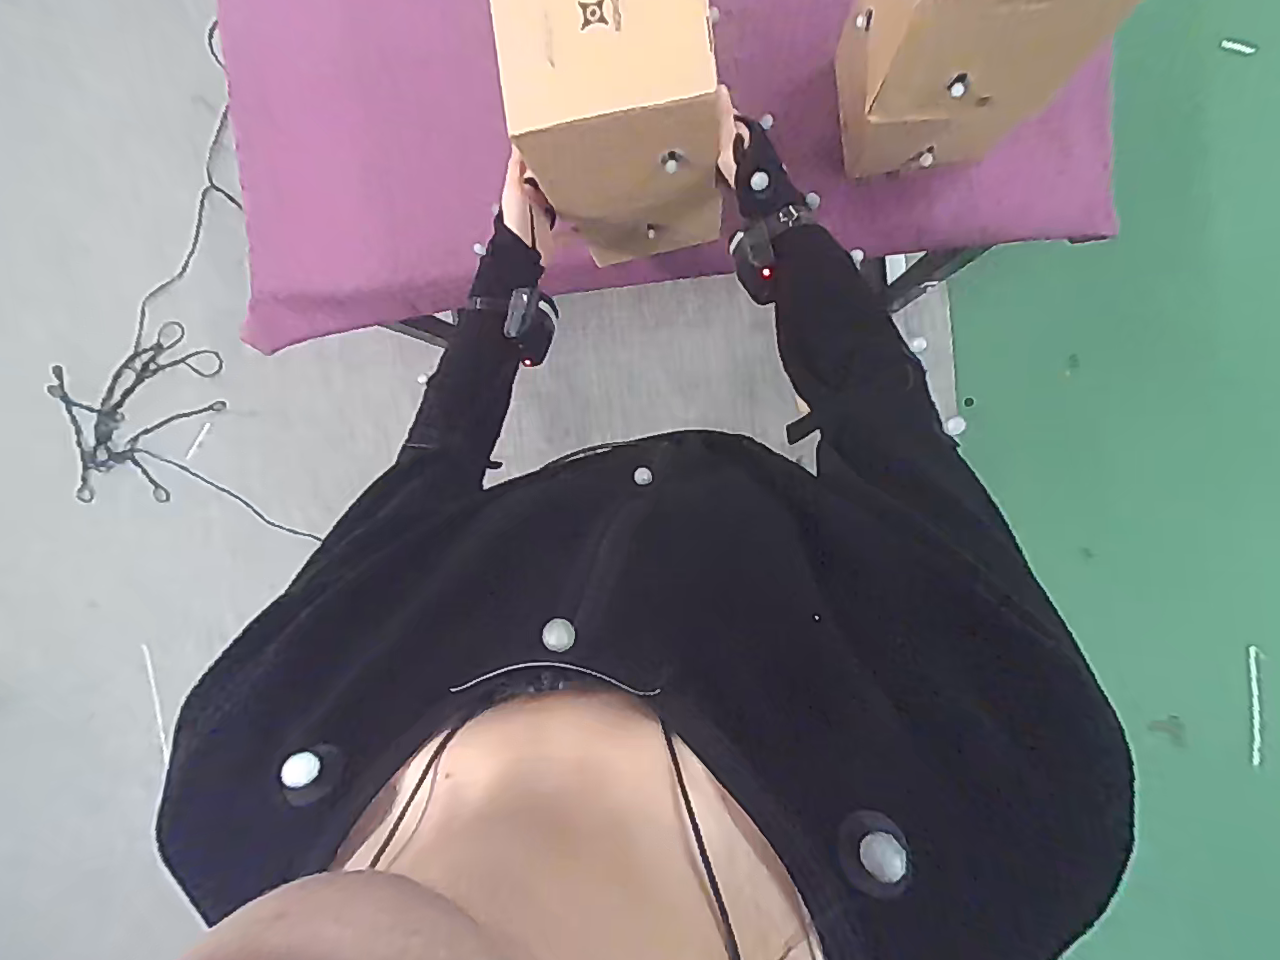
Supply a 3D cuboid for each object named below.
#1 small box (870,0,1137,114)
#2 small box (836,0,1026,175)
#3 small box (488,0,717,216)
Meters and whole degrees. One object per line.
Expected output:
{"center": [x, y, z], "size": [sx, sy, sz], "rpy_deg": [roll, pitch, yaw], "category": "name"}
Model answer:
{"center": [0.306, -0.455, 0.462], "size": [0.168, 0.176, 0.179], "rpy_deg": [2, 94, 8], "category": "small box"}
{"center": [0.340, -0.484, 0.620], "size": [0.179, 0.176, 0.168], "rpy_deg": [-6, 91, 8], "category": "small box"}
{"center": [-0.025, -0.375, 0.505], "size": [0.179, 0.176, 0.168], "rpy_deg": [-7, 91, 8], "category": "small box"}
